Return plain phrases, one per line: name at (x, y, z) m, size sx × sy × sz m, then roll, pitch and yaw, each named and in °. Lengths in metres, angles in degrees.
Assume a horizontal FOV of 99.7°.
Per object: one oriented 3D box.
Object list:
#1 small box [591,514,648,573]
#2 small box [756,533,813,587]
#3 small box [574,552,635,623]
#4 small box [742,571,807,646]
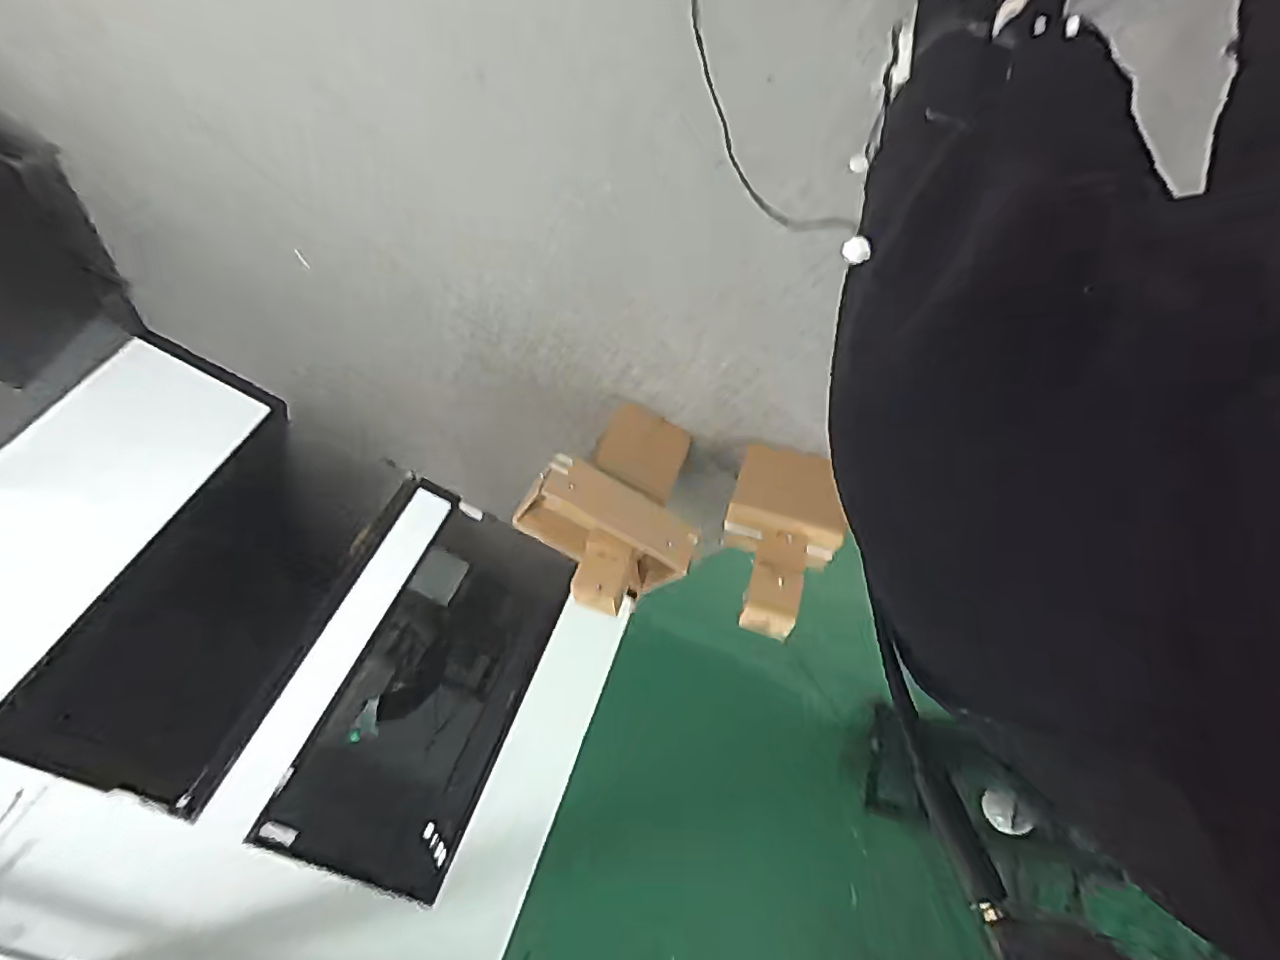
small box at (-0.077, 0.252, 2.042) m, size 0.168 × 0.176 × 0.179 m, roll 20°, pitch 149°, yaw 9°
small box at (0.516, 0.317, 1.942) m, size 0.168 × 0.176 × 0.179 m, roll 14°, pitch 147°, yaw 15°
small box at (-0.122, 0.389, 1.962) m, size 0.168 × 0.176 × 0.179 m, roll 16°, pitch 148°, yaw 13°
small box at (0.459, 0.438, 1.846) m, size 0.168 × 0.176 × 0.179 m, roll 16°, pitch 147°, yaw 11°
